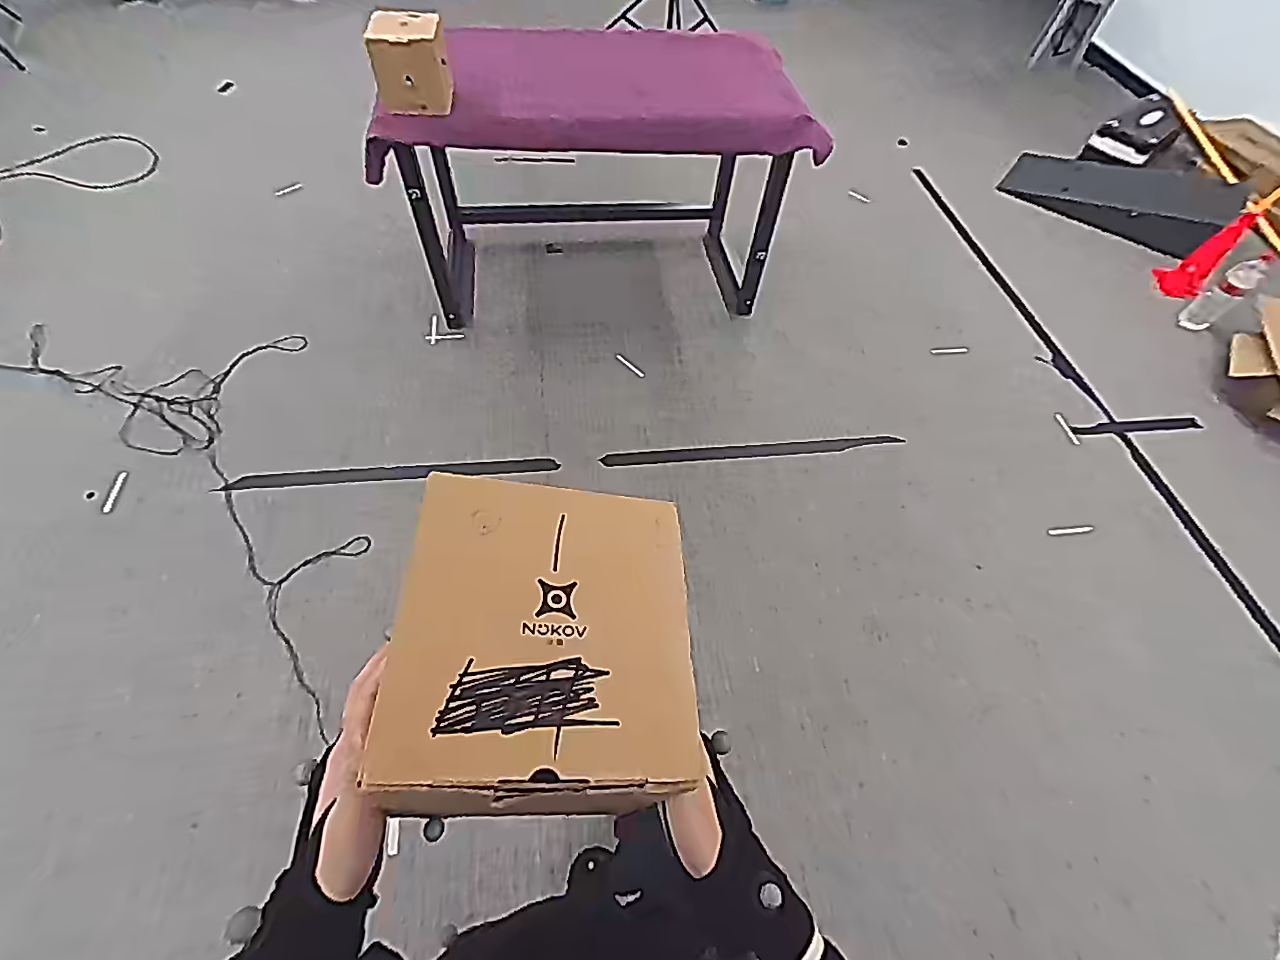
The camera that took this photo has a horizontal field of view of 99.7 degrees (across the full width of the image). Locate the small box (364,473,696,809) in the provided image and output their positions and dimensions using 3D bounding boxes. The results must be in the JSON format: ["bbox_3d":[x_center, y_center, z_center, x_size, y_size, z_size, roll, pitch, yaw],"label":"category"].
[{"bbox_3d":[-0.072,0.122,0.375,0.168,0.176,0.179,8,52,-14],"label":"small box"}]

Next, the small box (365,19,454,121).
[{"bbox_3d":[-0.595,-1.072,1.419,0.168,0.176,0.179,-3,58,-6],"label":"small box"}]
